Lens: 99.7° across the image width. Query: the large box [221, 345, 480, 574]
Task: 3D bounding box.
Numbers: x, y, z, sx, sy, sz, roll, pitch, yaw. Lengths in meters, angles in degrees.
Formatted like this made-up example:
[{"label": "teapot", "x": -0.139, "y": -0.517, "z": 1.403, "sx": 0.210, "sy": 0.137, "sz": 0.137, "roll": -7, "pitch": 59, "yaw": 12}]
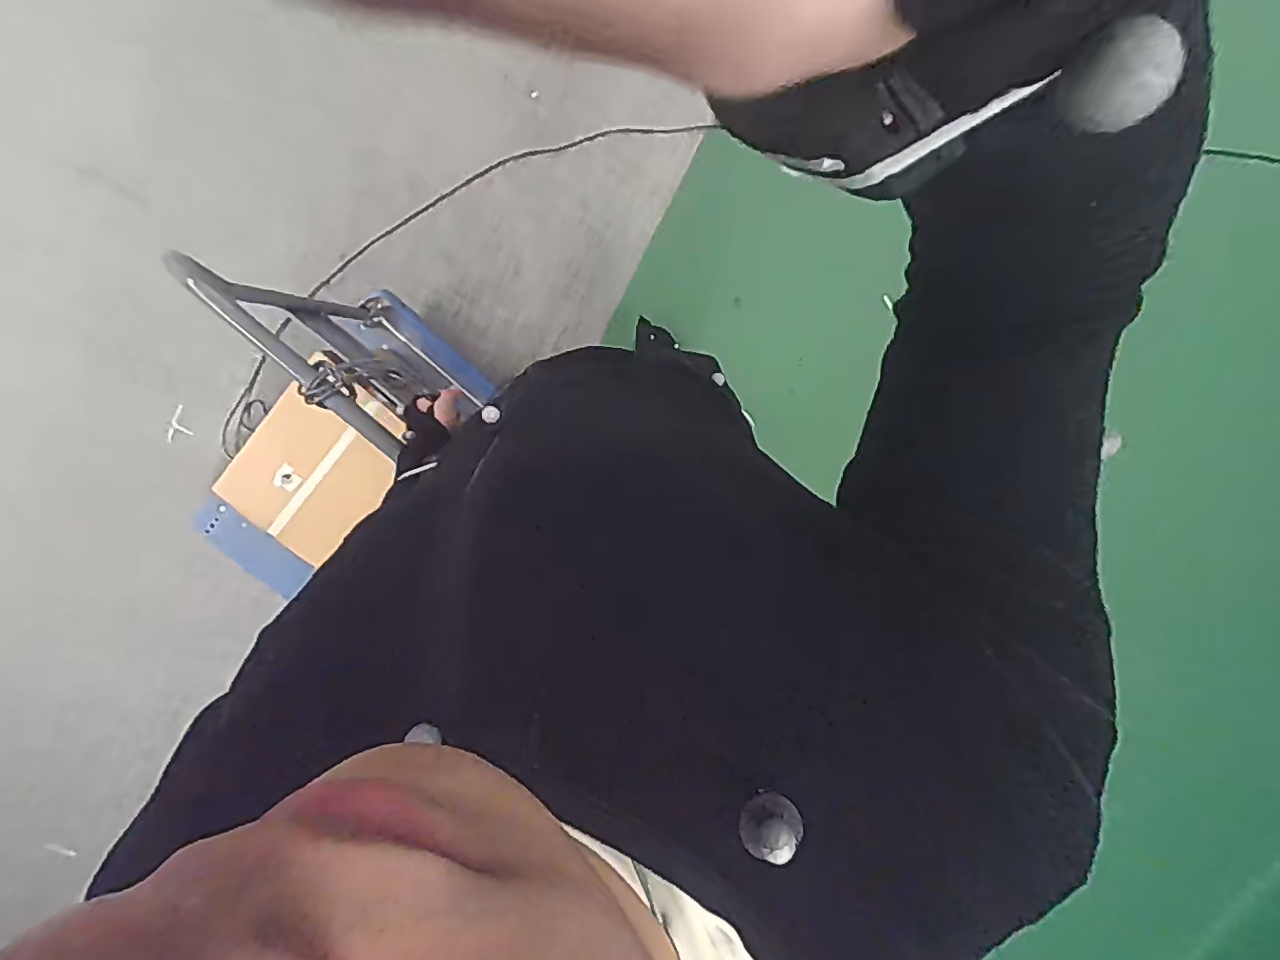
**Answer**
[{"label": "large box", "x": -0.656, "y": -0.067, "z": 1.289, "sx": 0.320, "sy": 0.320, "sz": 0.408, "roll": 42, "pitch": 101, "yaw": -9}]
